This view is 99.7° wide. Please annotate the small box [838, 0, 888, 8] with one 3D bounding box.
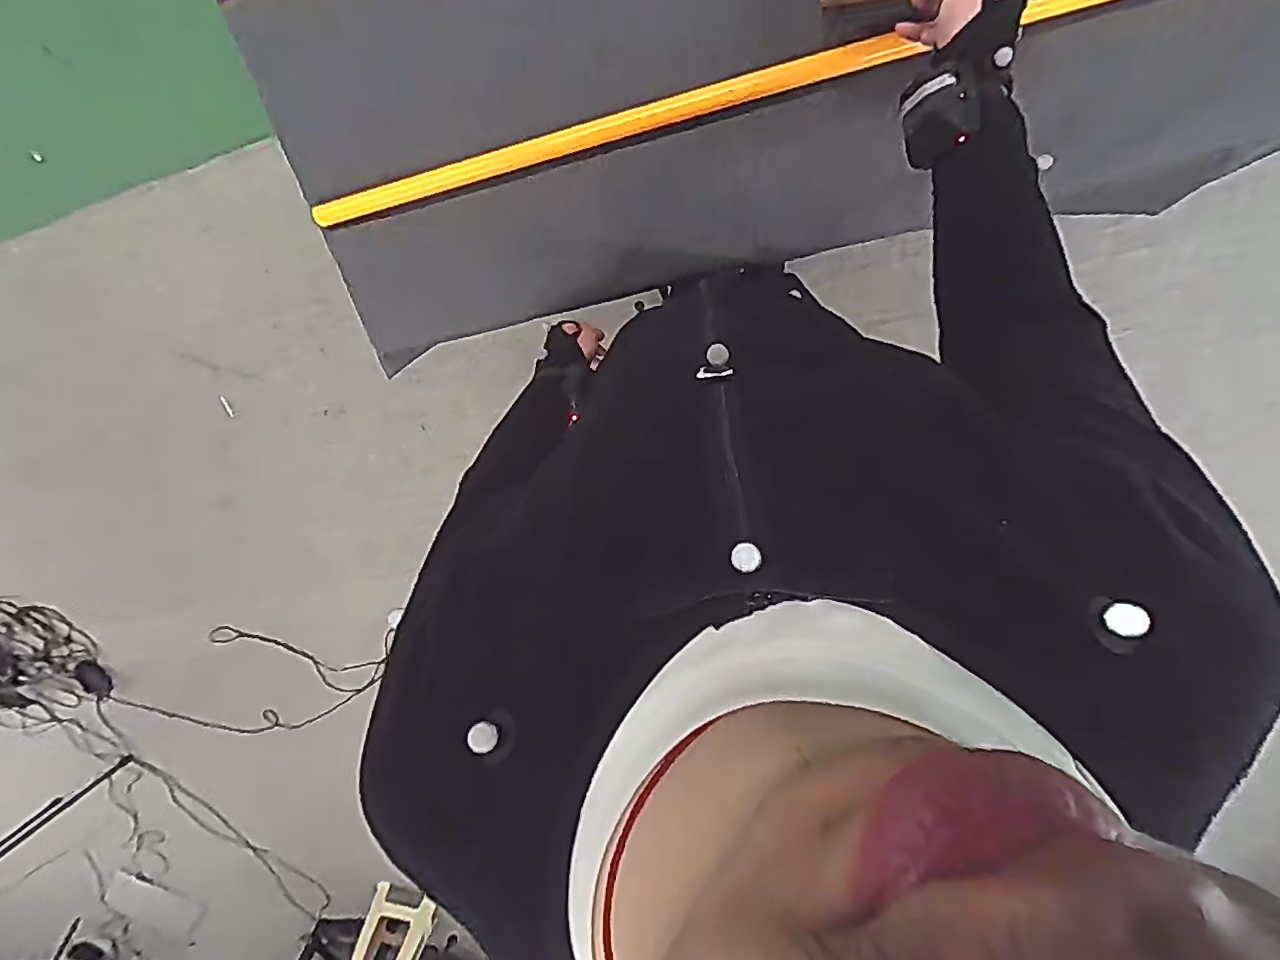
[{"bbox_3d":[0.266,-0.562,0.483,0.168,0.176,0.179,-5,116,11],"label":"small box"}]
